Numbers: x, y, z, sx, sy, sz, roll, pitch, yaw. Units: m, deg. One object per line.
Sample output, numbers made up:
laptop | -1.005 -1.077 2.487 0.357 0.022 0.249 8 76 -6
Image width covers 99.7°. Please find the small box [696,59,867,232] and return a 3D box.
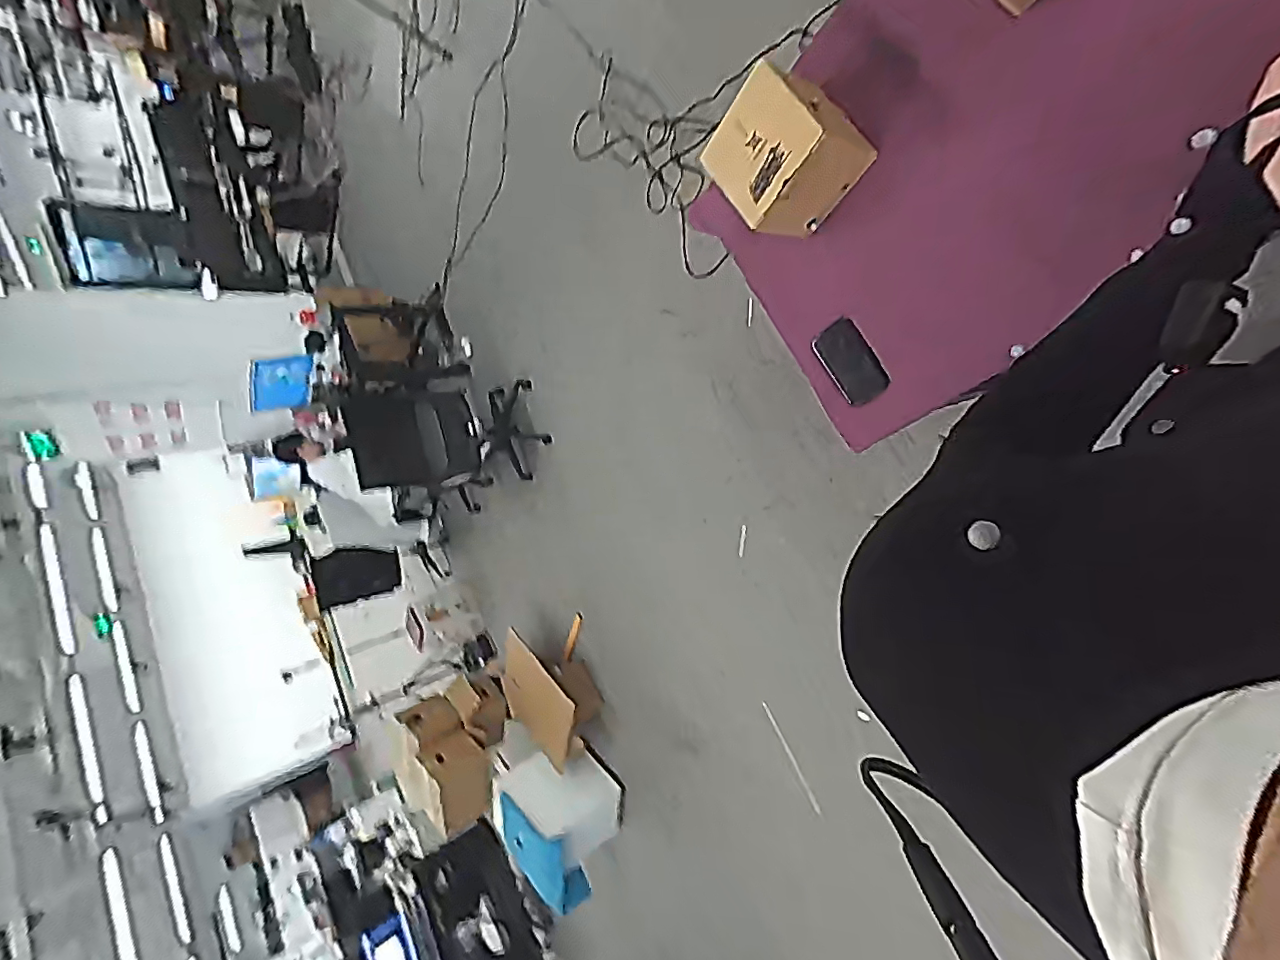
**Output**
small box | 0.233 -0.532 0.887 0.168 0.176 0.179 -47 66 44

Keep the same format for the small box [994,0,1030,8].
small box | 0.428 -0.699 0.619 0.179 0.176 0.168 60 138 16
